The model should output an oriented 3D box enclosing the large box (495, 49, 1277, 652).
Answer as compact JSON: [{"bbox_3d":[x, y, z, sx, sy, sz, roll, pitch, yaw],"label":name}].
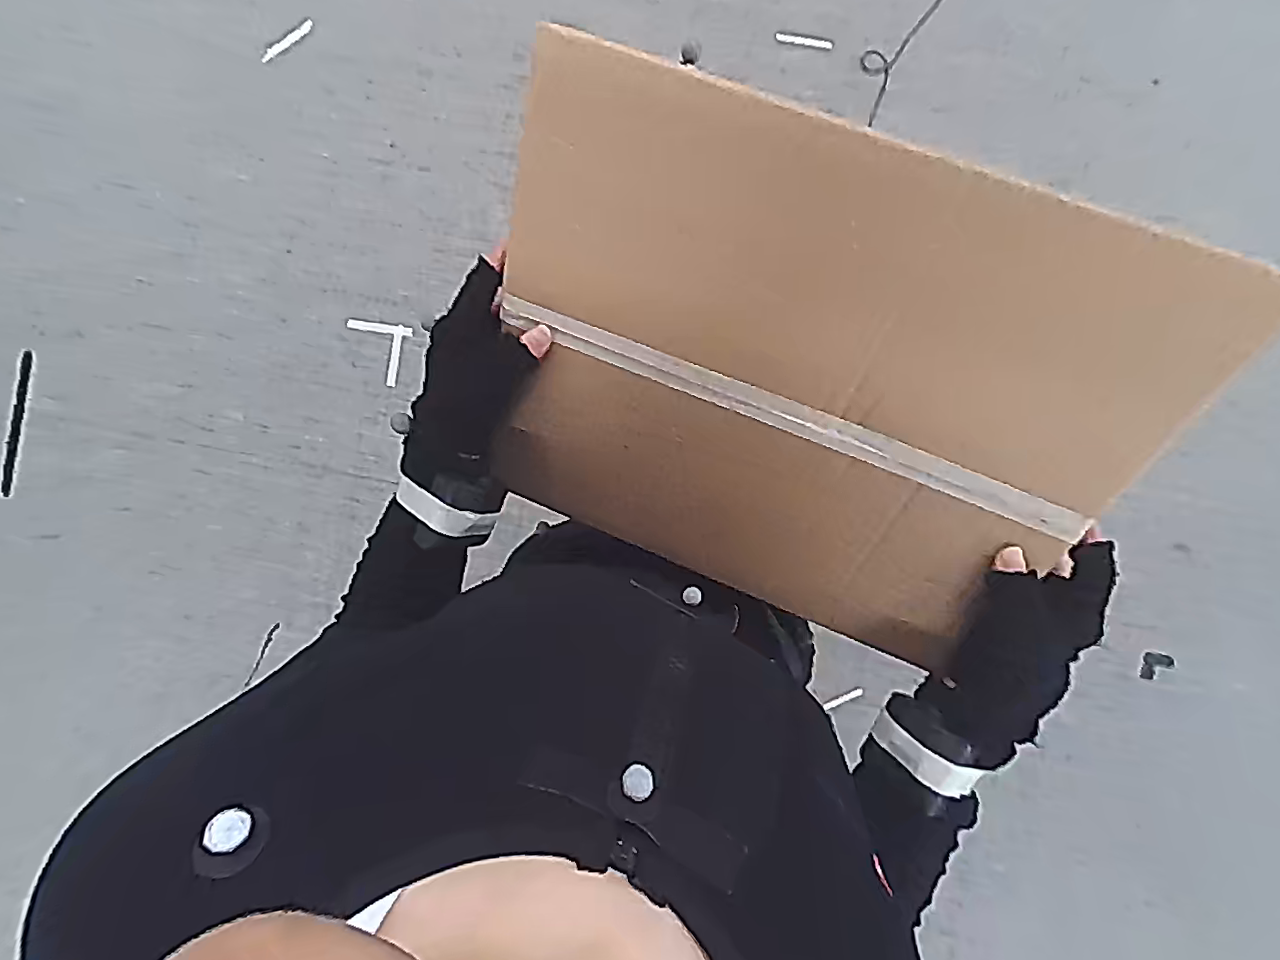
[{"bbox_3d":[0.134,-0.126,0.490,0.408,0.320,0.320,23,125,5],"label":"large box"}]
